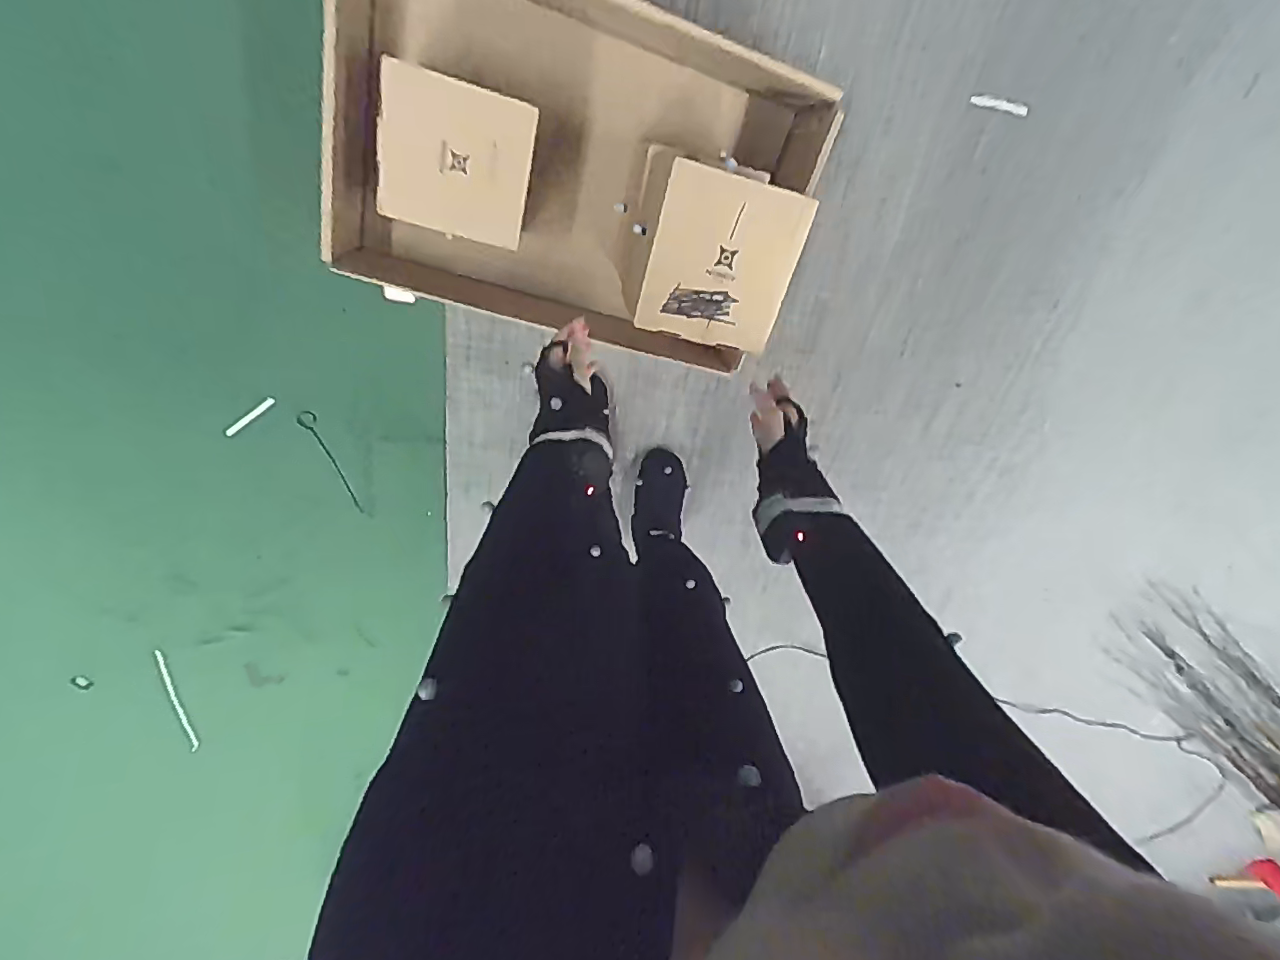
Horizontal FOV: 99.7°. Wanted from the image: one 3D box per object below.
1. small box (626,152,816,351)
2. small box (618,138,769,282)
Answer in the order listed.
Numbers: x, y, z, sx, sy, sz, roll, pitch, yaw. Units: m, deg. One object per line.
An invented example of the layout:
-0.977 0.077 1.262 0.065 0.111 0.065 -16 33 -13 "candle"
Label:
0.081 -0.283 0.664 0.168 0.176 0.179 9 119 -12 "small box"
0.065 -0.382 0.794 0.168 0.176 0.179 8 121 -12 "small box"
